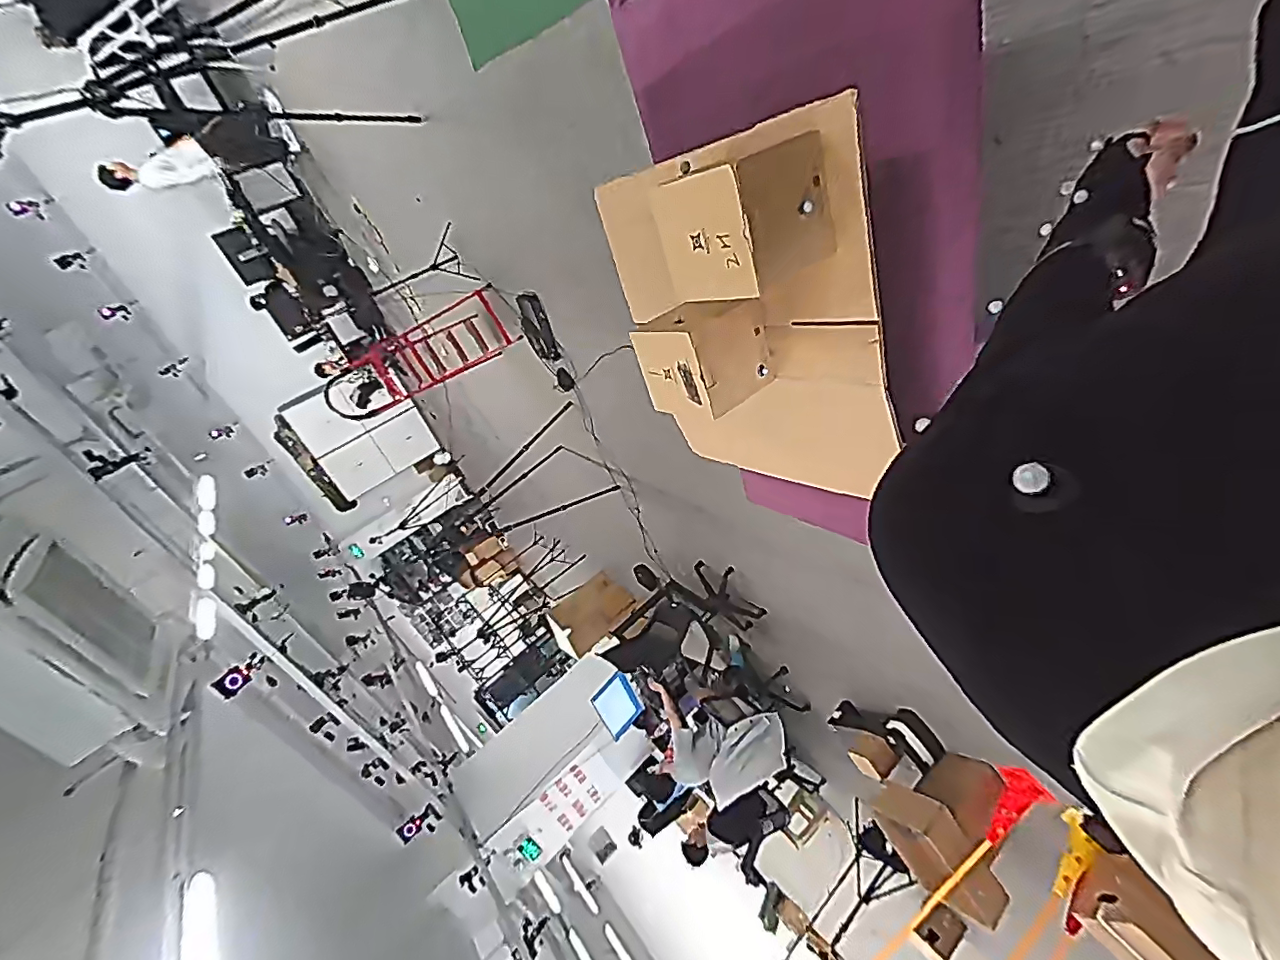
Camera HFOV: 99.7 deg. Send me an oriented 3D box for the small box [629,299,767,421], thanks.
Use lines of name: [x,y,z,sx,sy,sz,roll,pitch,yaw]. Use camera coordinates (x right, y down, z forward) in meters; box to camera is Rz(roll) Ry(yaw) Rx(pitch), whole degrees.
small box: [0.115,-0.229,0.999,0.179,0.176,0.168,21,138,52]

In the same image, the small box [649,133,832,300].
small box: [0.146,-0.369,0.776,0.179,0.176,0.168,21,138,50]
